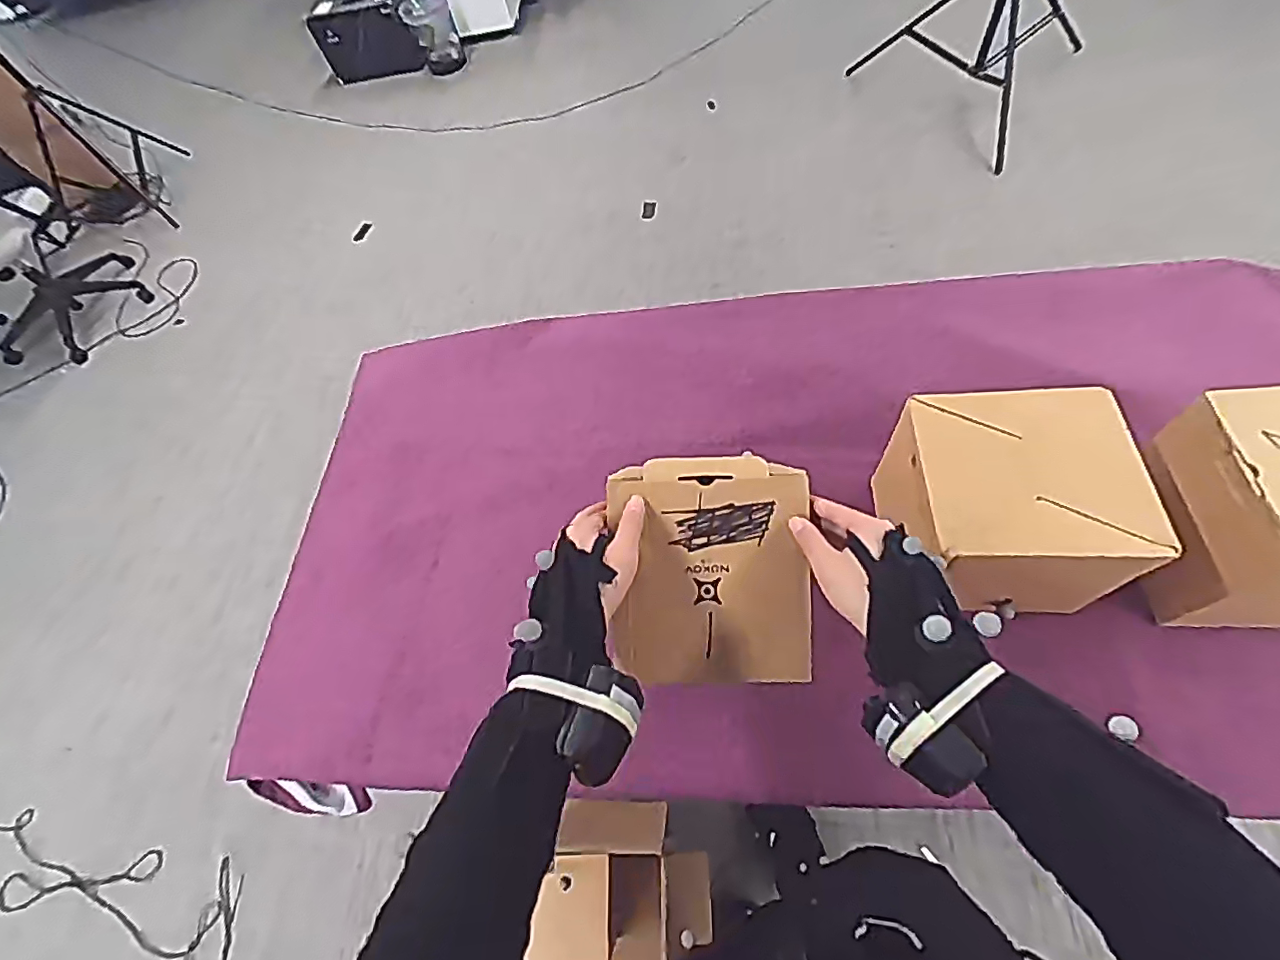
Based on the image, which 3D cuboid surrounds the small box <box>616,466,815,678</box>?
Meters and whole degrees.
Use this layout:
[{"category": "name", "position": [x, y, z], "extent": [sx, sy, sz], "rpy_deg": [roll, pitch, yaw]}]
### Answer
[{"category": "small box", "position": [0.068, 0.076, 0.530], "extent": [0.168, 0.176, 0.179], "rpy_deg": [-2, 94, 5]}]

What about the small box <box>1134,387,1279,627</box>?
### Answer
[{"category": "small box", "position": [0.594, 0.031, 0.498], "extent": [0.179, 0.176, 0.168], "rpy_deg": [-1, 59, 10]}]

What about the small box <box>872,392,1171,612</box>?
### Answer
[{"category": "small box", "position": [0.353, 0.028, 0.544], "extent": [0.179, 0.176, 0.168], "rpy_deg": [-1, 60, 10]}]
